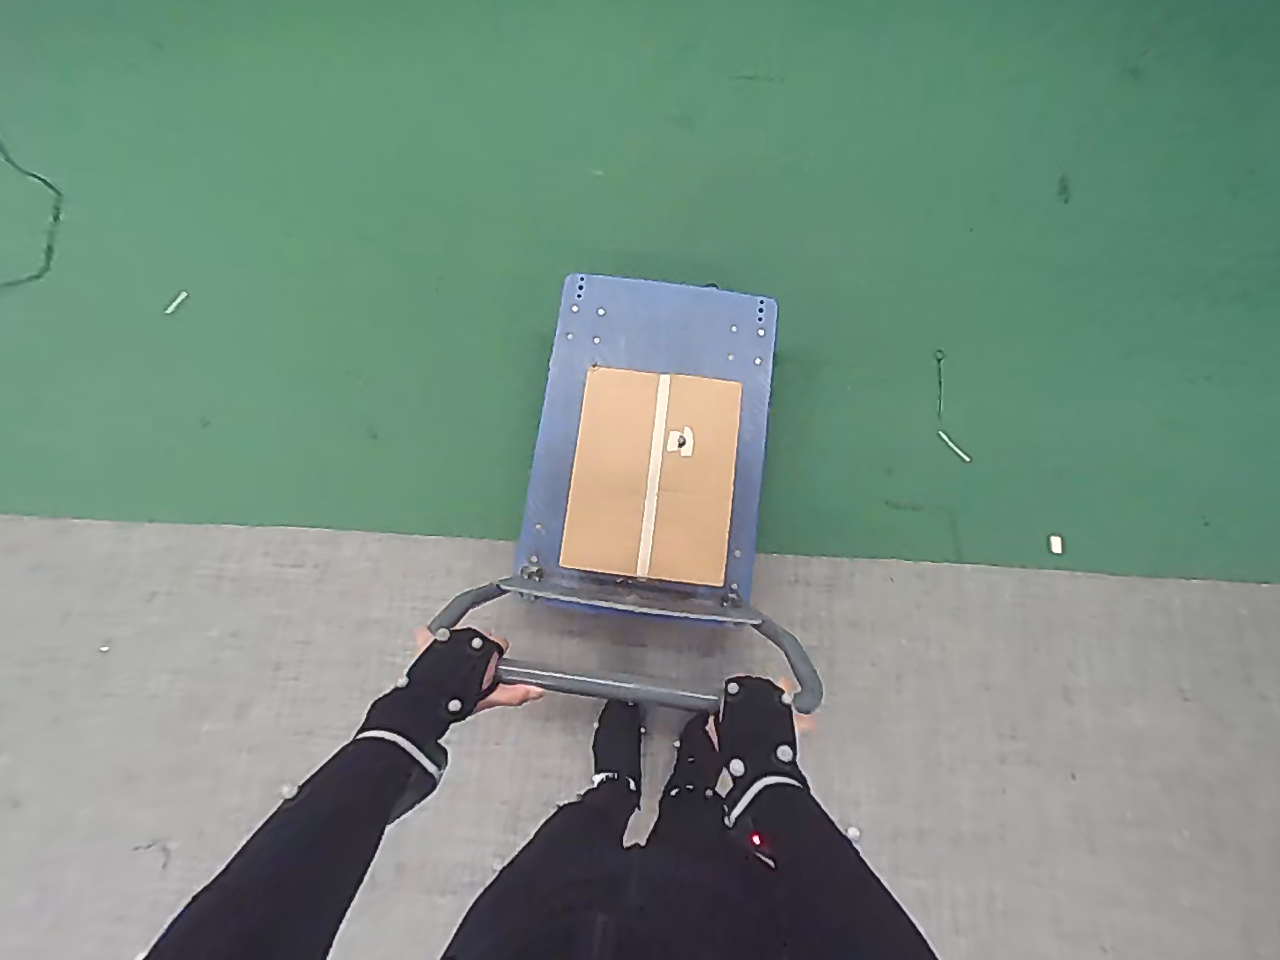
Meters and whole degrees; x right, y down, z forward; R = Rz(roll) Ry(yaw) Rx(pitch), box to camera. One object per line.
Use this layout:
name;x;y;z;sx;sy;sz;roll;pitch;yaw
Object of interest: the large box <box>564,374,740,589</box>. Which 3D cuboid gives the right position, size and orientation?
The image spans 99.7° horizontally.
large box;0.031;0.024;1.195;0.320;0.320;0.408;7;79;1
